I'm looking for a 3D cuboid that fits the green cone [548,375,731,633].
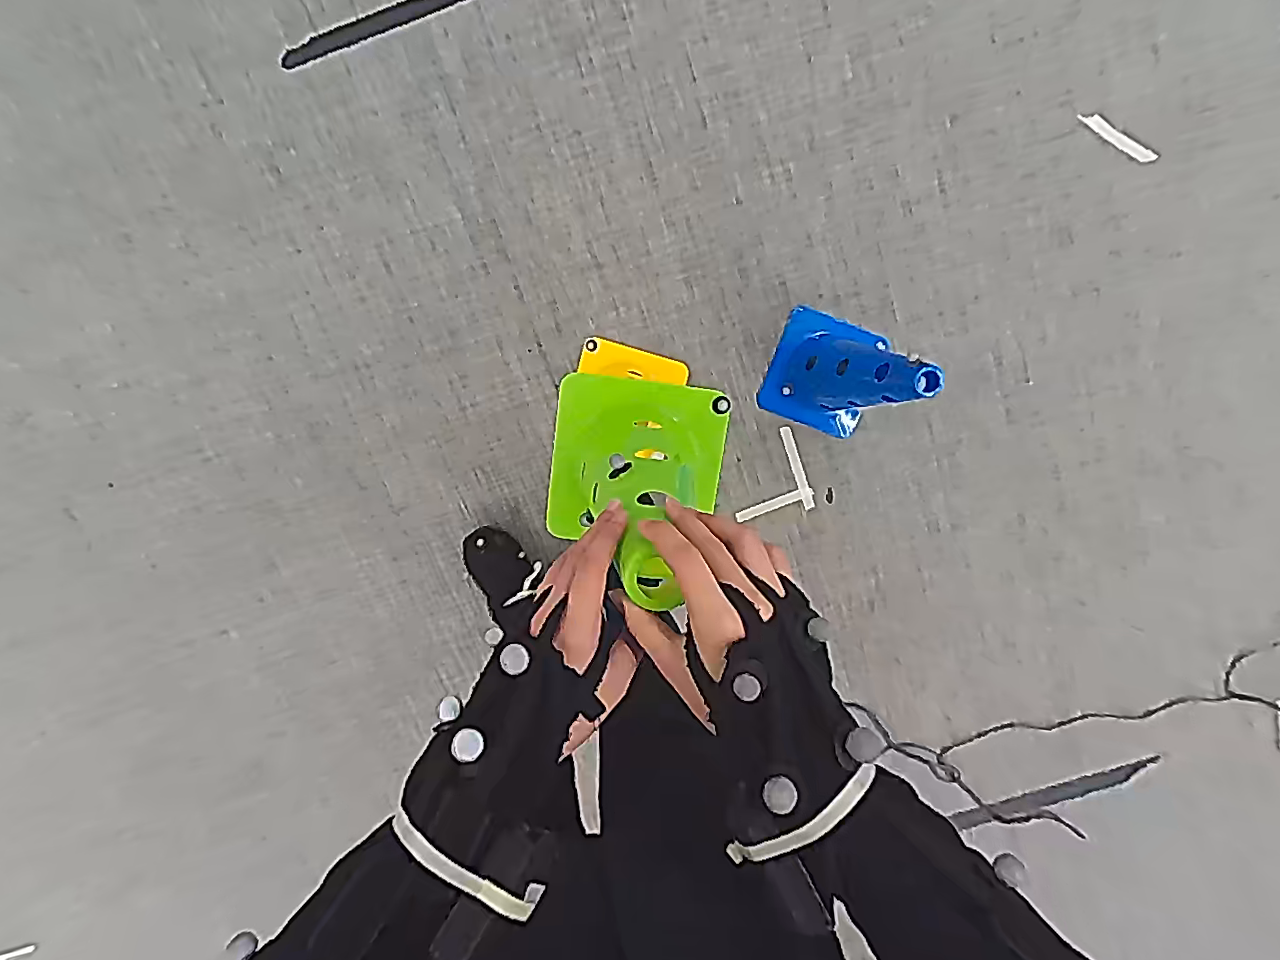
[{"bbox_3d":[0.004,0.023,0.470,0.200,0.368,0.202,6,102,-4],"label":"green cone"}]
